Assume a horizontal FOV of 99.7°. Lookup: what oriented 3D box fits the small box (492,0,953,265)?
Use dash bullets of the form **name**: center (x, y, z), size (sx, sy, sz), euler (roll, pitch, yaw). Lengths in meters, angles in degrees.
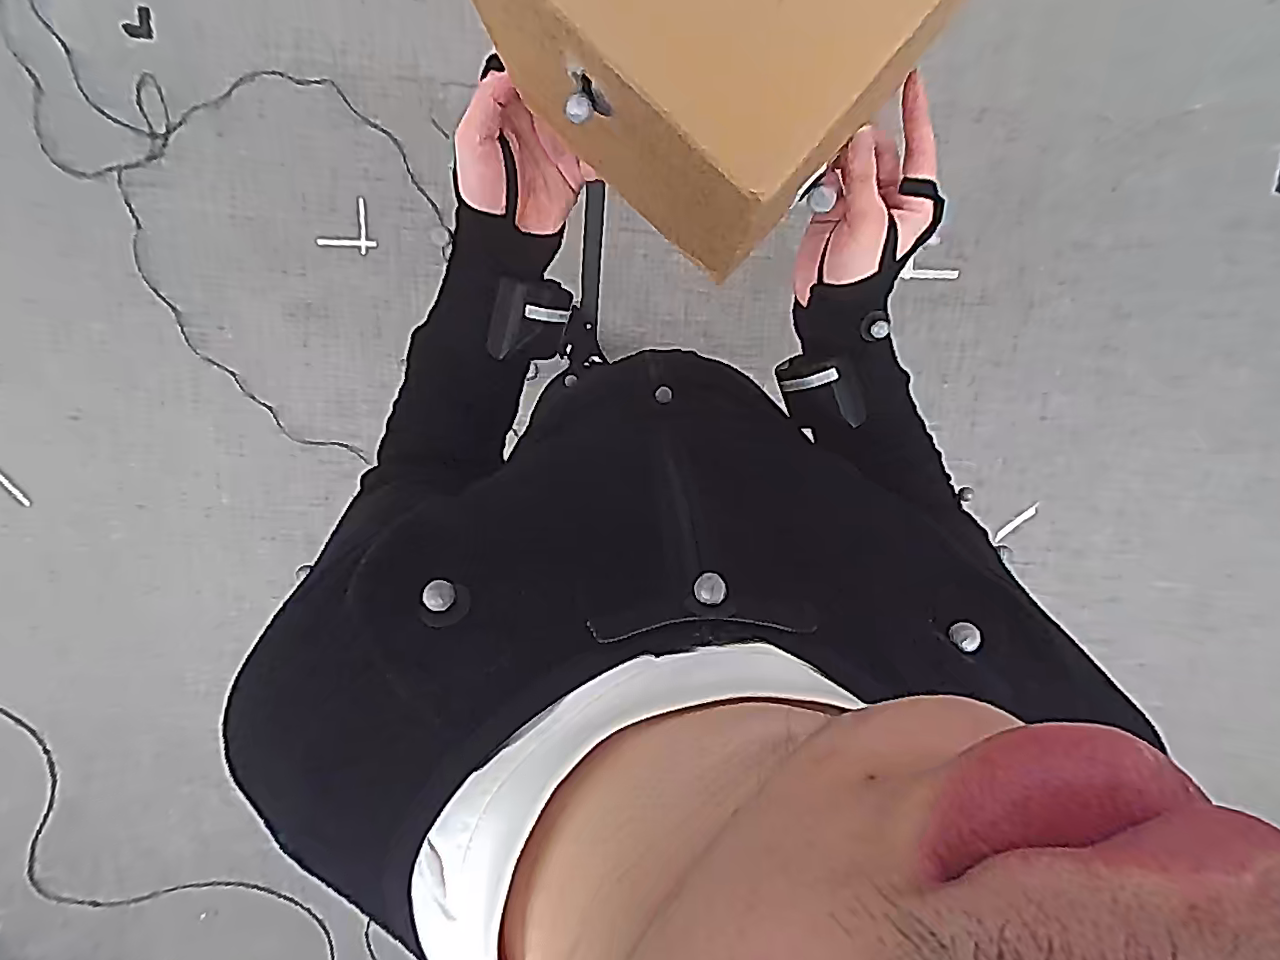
- **small box**: center (0.039, -0.238, 0.272), size (0.179, 0.176, 0.168), euler (41, 100, -4)
